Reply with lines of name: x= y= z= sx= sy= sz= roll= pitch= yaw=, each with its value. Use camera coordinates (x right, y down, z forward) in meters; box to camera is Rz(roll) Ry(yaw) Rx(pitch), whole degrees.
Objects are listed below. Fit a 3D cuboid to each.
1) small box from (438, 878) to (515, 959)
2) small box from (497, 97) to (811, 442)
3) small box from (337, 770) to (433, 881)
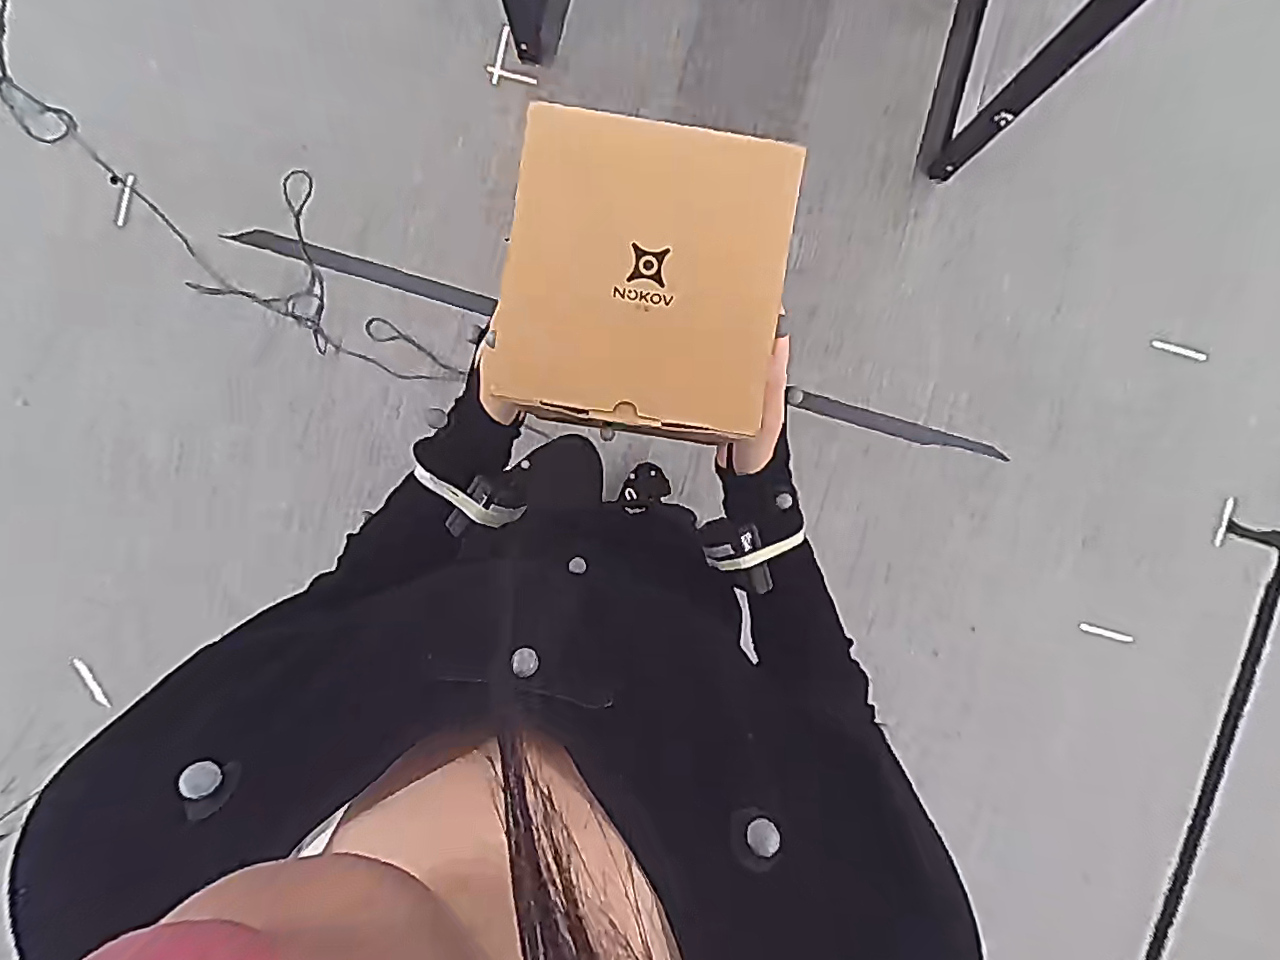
small box: x=-0.443 y=1.212 z=1.447 sx=0.179 sy=0.176 sz=0.168 roll=9 pitch=92 yaw=-2
small box: x=0.006 y=-0.126 z=0.395 sx=0.168 sy=0.176 sz=0.179 roll=8 pitch=93 yaw=-2
small box: x=-0.665 y=0.905 z=1.431 sx=0.168 sy=0.176 sz=0.179 roll=10 pitch=93 yaw=-1
